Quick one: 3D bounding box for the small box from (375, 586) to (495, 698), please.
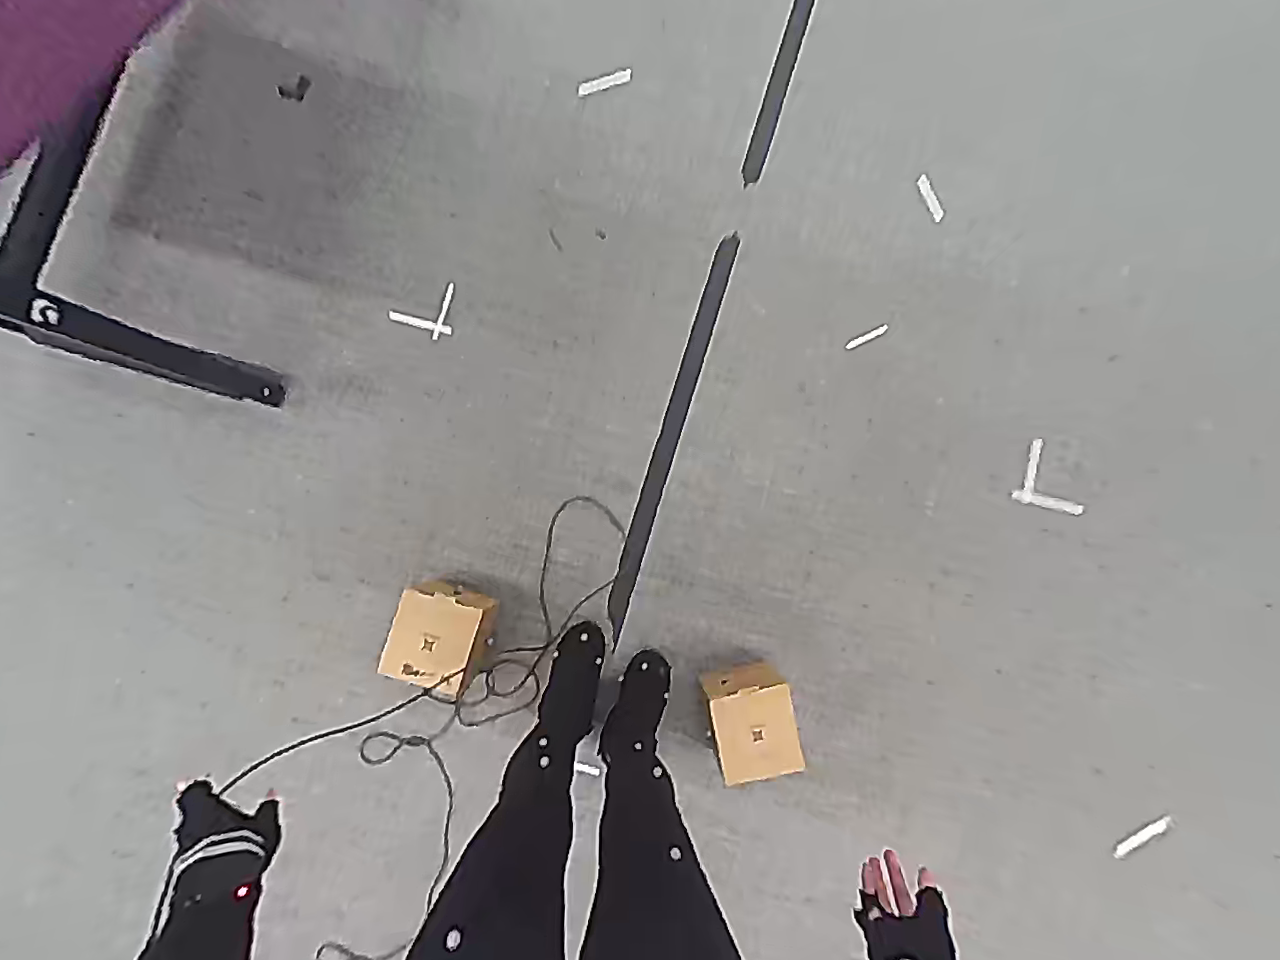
[{"bbox_3d":[-0.418,0.330,1.139,0.168,0.176,0.179,17,82,0],"label":"small box"}]

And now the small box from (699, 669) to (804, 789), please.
[{"bbox_3d":[0.227,0.514,1.147,0.168,0.176,0.179,-11,86,-1],"label":"small box"}]
